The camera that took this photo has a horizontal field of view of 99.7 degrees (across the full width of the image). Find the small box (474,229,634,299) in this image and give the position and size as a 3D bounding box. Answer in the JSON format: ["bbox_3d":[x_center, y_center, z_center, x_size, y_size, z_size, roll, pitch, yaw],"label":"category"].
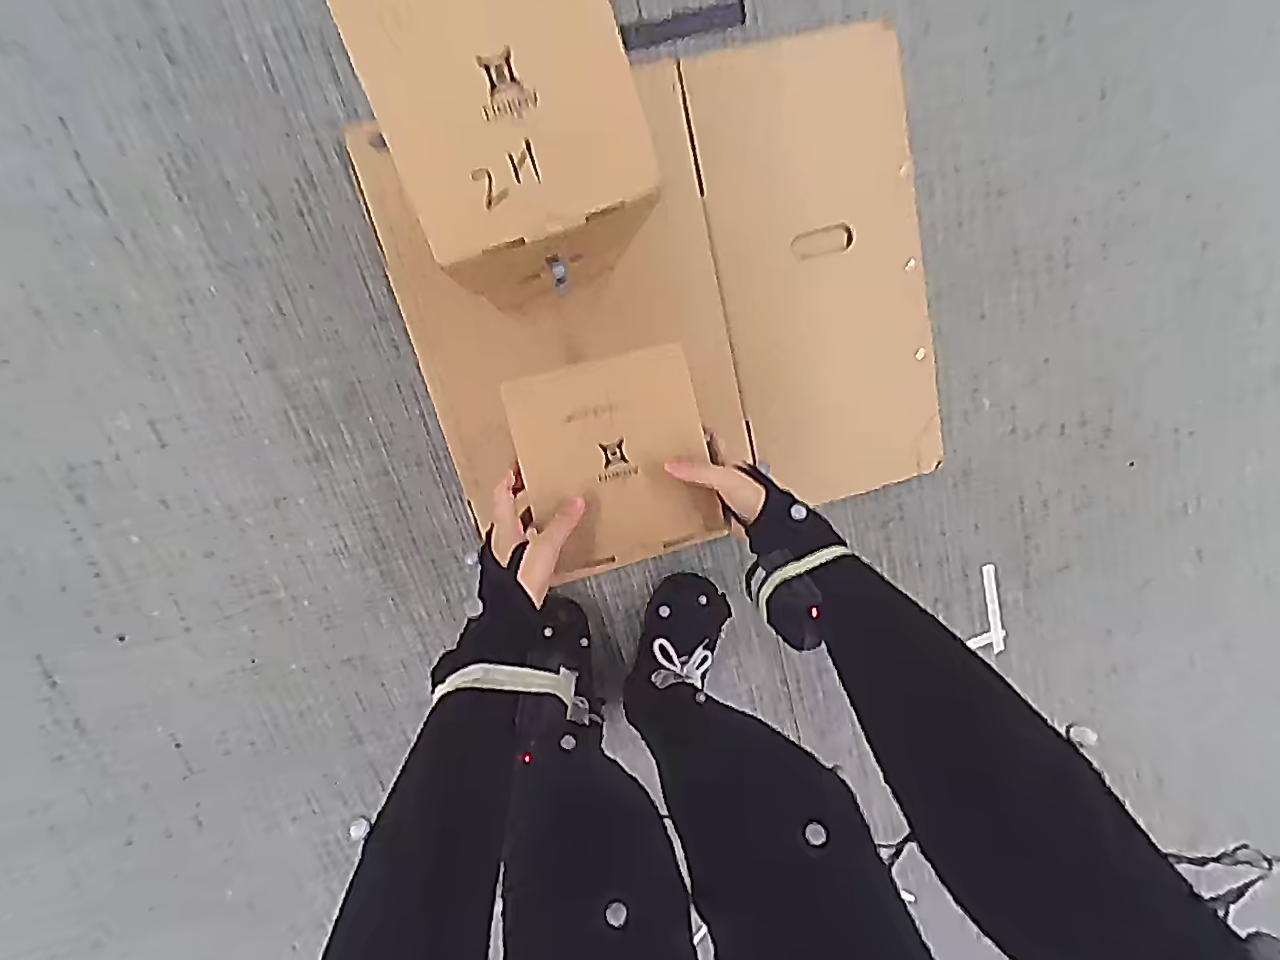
[{"bbox_3d":[-0.120,-0.304,0.576,0.168,0.176,0.179,-23,106,-4],"label":"small box"}]

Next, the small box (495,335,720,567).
[{"bbox_3d":[-0.033,-0.028,0.556,0.168,0.176,0.179,-16,92,-5],"label":"small box"}]

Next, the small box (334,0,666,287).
[{"bbox_3d":[-0.097,-0.268,0.416,0.168,0.176,0.179,-21,105,-3],"label":"small box"}]
